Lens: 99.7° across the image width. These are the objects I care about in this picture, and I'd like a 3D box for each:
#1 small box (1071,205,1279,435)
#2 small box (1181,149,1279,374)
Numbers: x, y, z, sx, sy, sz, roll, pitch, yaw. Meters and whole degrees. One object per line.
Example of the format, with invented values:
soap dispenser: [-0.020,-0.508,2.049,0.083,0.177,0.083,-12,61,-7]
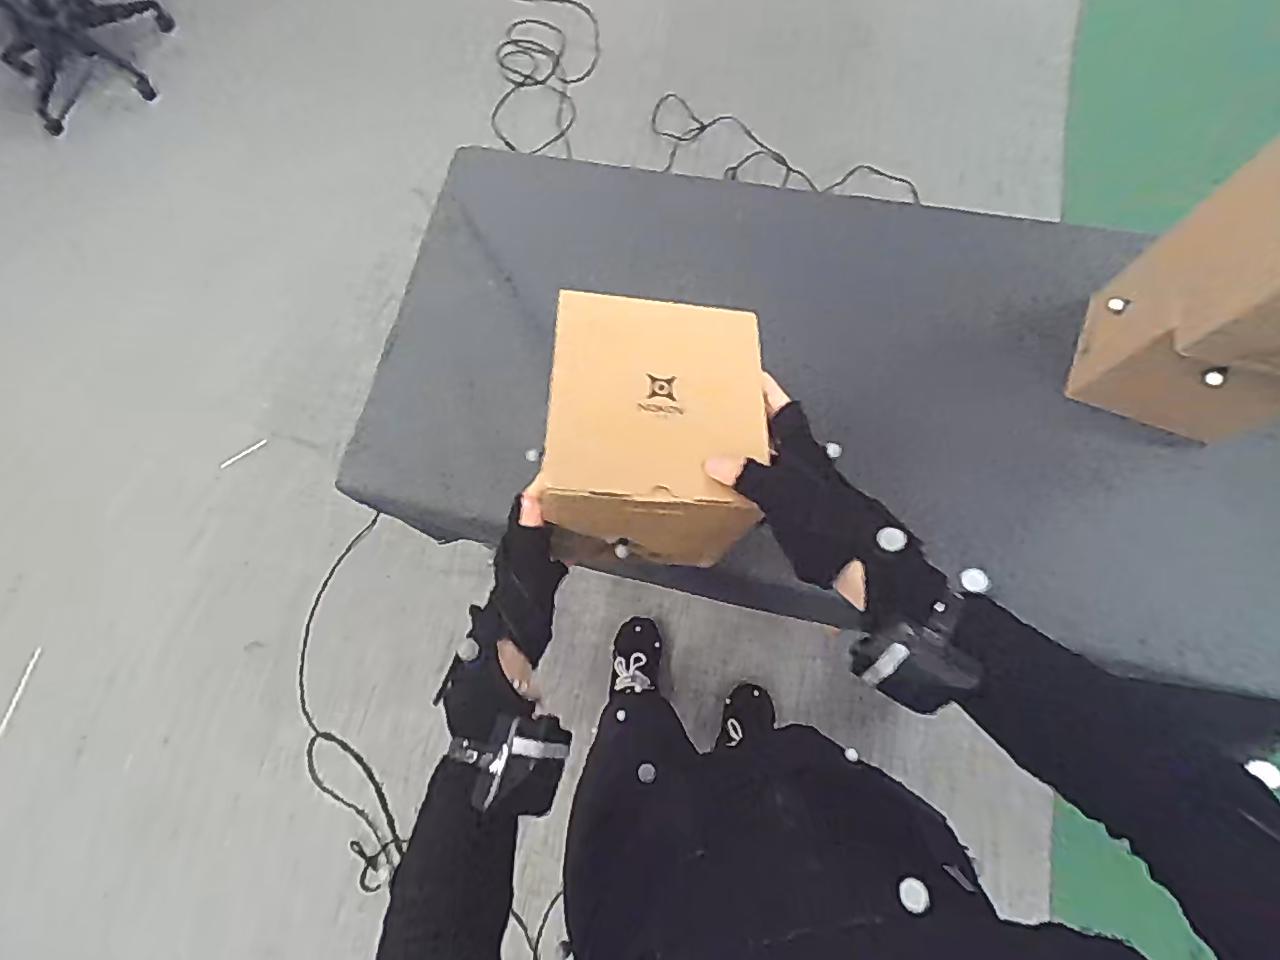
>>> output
small box: [0.657,-0.173,0.628,0.179,0.176,0.168,23,77,10]
small box: [0.631,-0.206,0.469,0.168,0.176,0.179,17,76,10]
